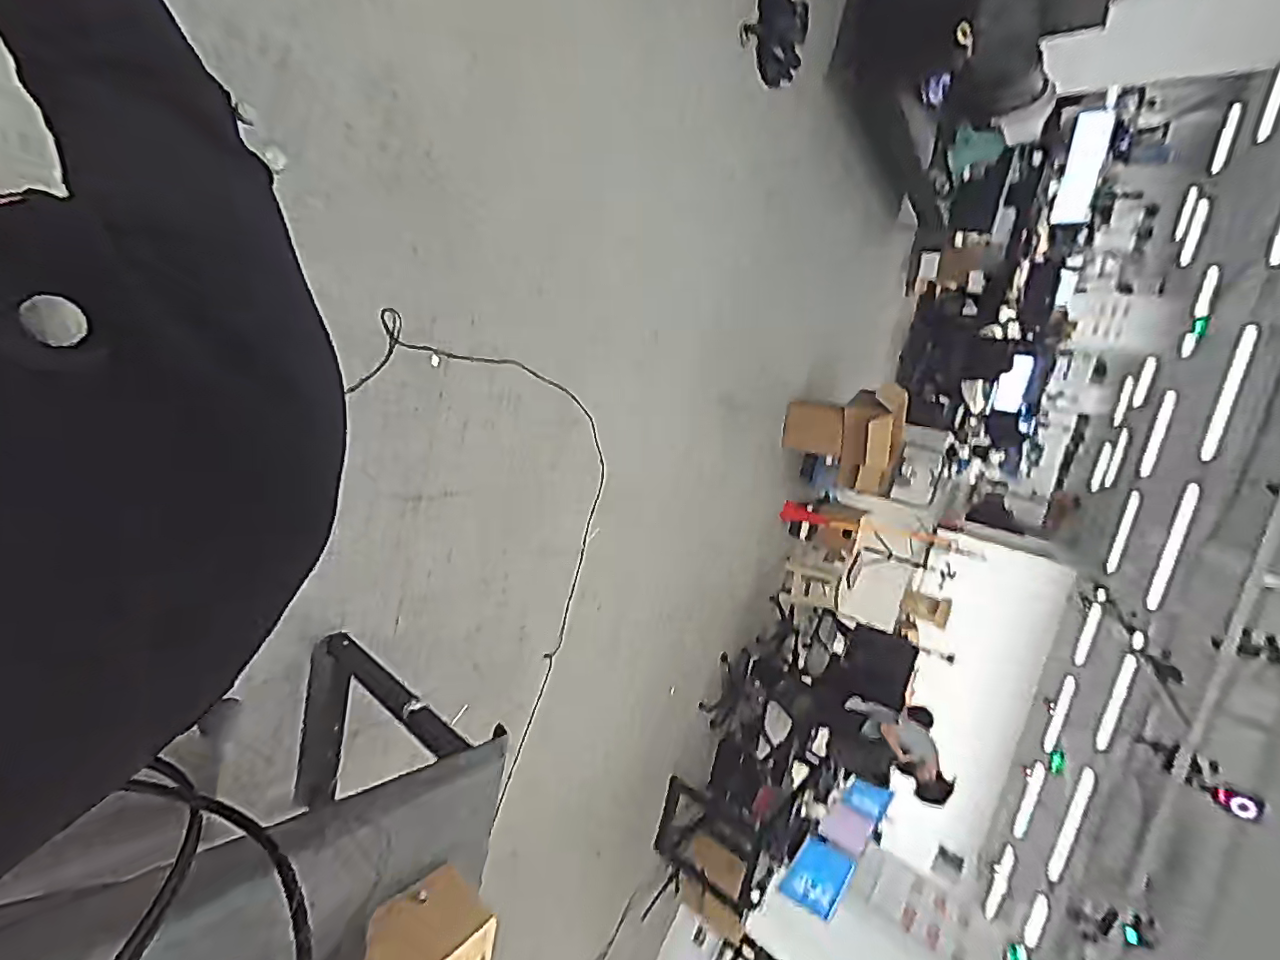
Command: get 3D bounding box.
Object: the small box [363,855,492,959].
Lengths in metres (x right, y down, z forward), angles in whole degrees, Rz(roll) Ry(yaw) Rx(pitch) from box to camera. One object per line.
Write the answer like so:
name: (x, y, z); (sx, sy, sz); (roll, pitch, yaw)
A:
small box: (-0.423, 0.905, 1.069); (0.179, 0.176, 0.168); (-4, 108, -53)
